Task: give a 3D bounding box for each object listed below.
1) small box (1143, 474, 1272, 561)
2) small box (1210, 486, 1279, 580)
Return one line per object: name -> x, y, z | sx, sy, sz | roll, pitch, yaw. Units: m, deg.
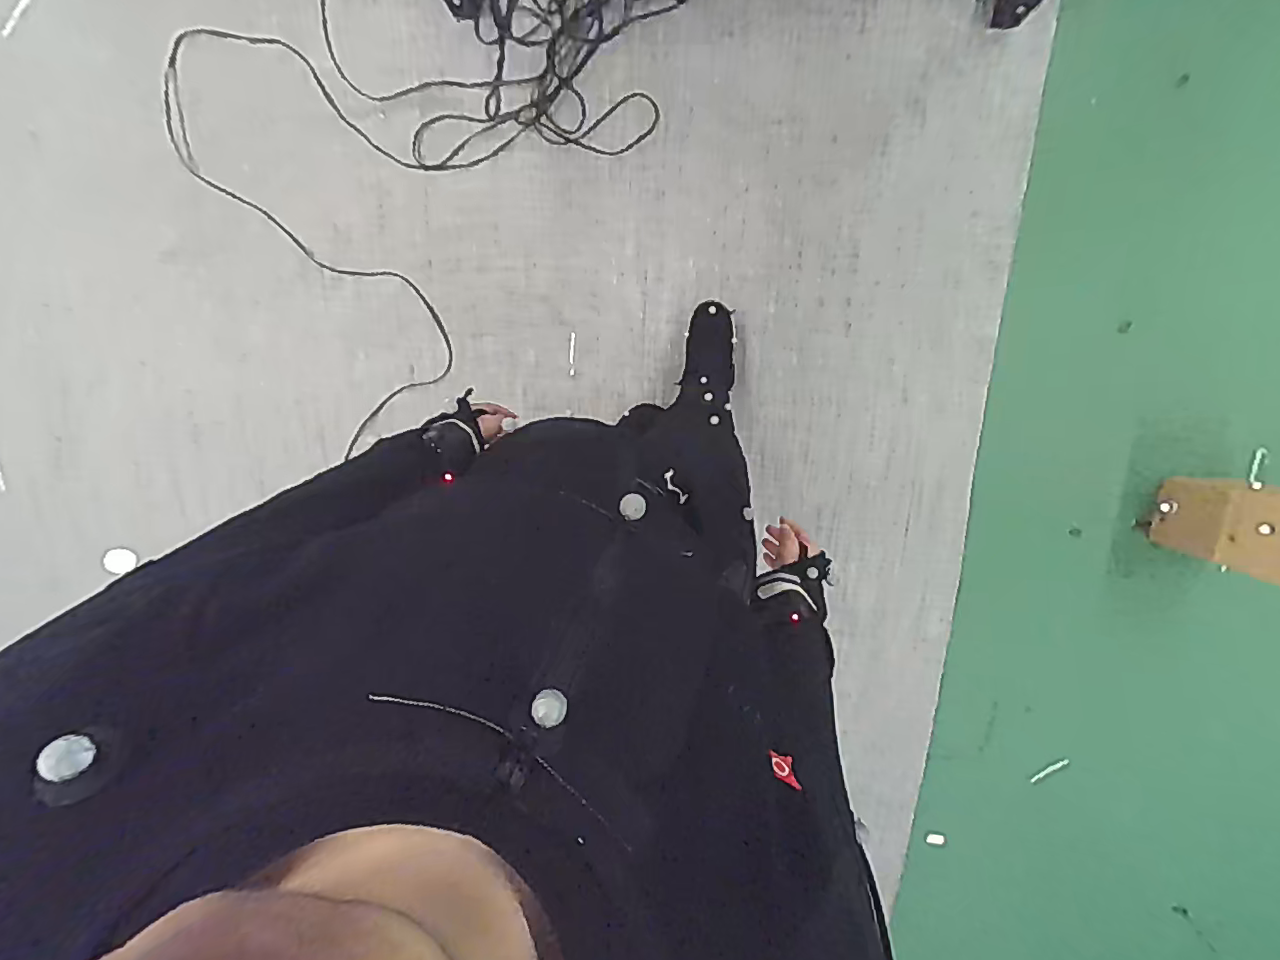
small box -> 1.343, 0.084, 1.256 | 0.179, 0.176, 0.168 | 2, 102, 2
small box -> 1.333, 0.111, 1.095 | 0.179, 0.176, 0.168 | 0, 102, 1
